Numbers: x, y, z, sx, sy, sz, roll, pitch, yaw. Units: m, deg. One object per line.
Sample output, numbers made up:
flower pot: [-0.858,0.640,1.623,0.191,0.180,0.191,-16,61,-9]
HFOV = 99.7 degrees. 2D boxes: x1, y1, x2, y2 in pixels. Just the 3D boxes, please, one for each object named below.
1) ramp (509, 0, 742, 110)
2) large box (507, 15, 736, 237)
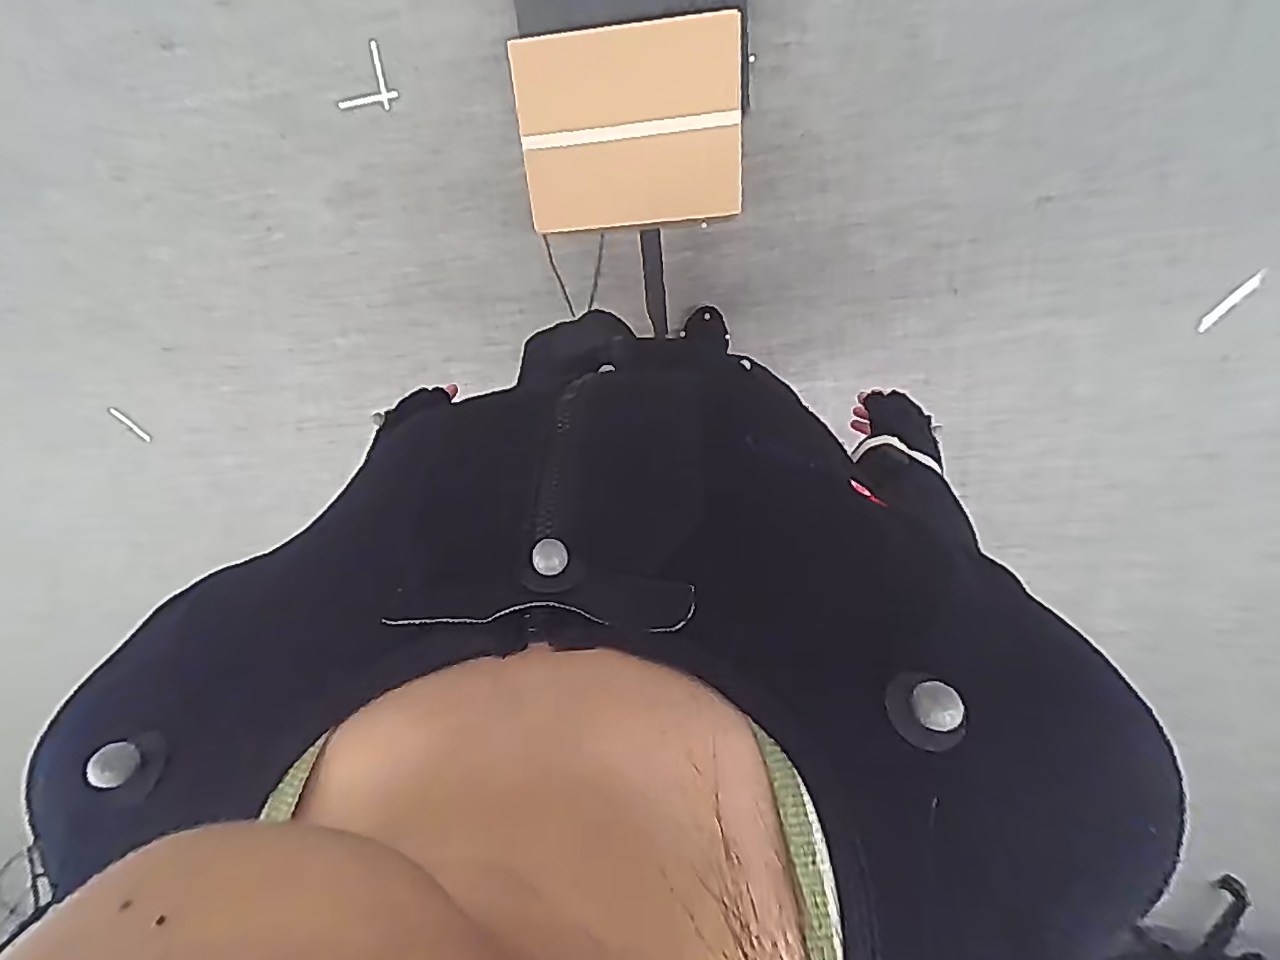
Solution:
ramp: [-0.066,-1.255,1.015,0.509,0.206,0.991,-6,108,6]
large box: [-0.015,-0.695,1.129,0.408,0.320,0.320,-3,112,6]
